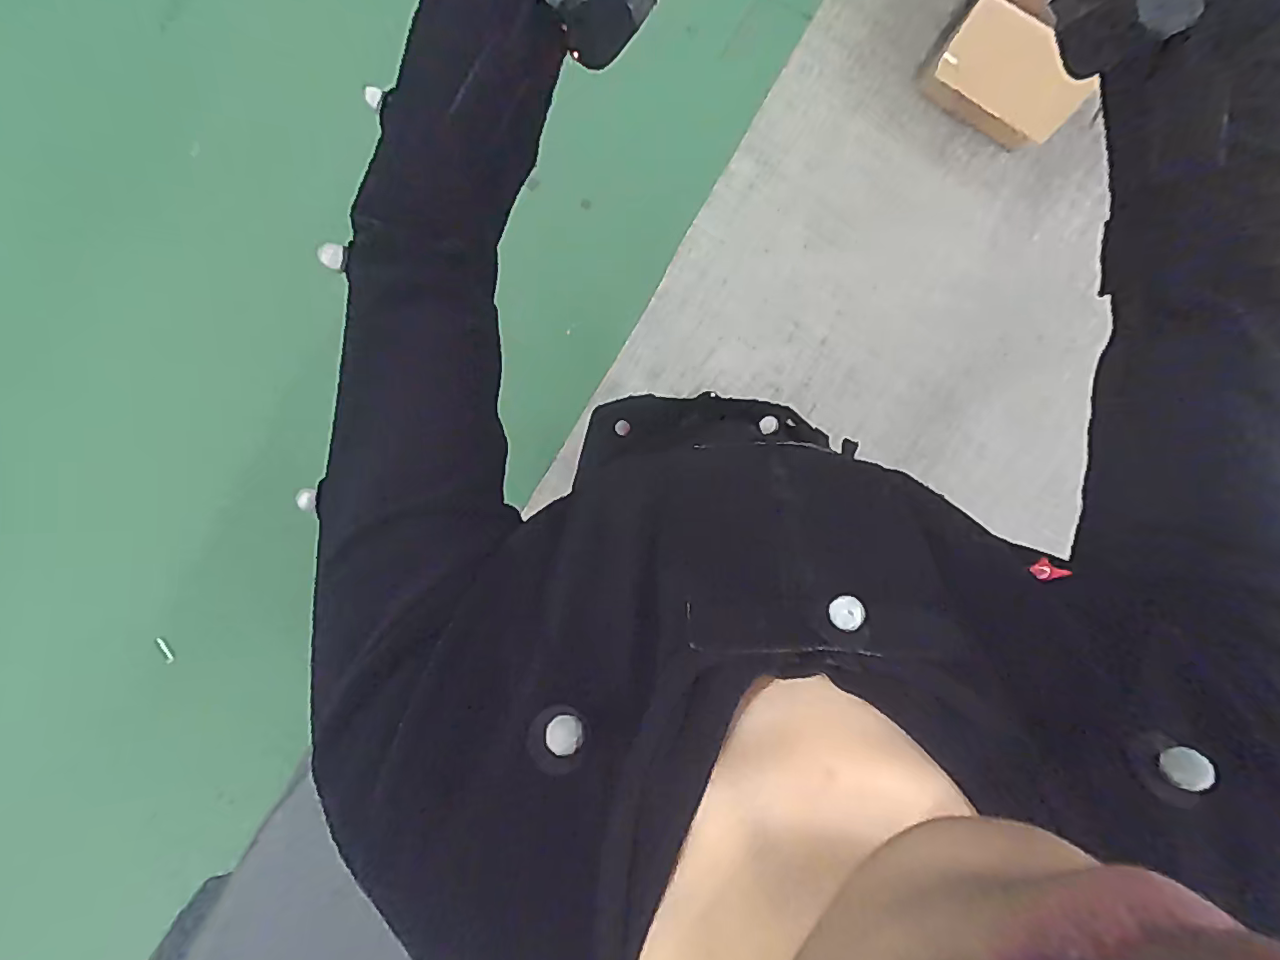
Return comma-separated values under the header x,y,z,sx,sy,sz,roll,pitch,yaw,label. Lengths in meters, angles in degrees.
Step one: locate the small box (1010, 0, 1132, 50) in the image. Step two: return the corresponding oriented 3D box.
x,y,z,sx,sy,sz,roll,pitch,yaw,label
0.925,-1.044,1.110,0.179,0.176,0.168,36,93,-1,small box
